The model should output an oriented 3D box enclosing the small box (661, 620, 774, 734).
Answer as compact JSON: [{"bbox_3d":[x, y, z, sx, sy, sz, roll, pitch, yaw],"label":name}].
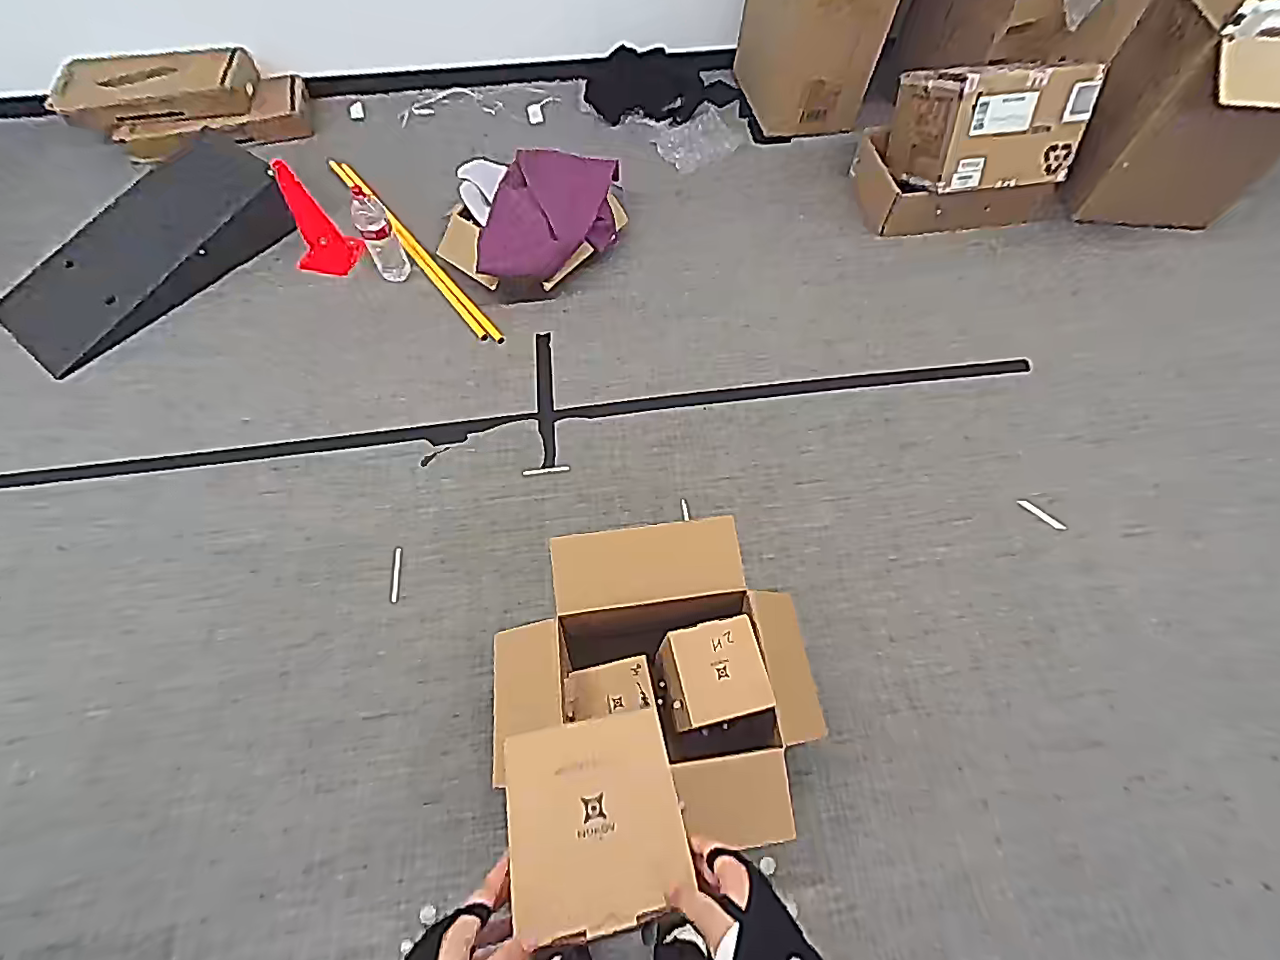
[{"bbox_3d":[0.145,0.399,1.081,0.168,0.176,0.179,-10,63,-10],"label":"small box"}]

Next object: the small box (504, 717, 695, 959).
[{"bbox_3d":[-0.050,0.386,0.580,0.168,0.176,0.179,-6,46,-12],"label":"small box"}]
